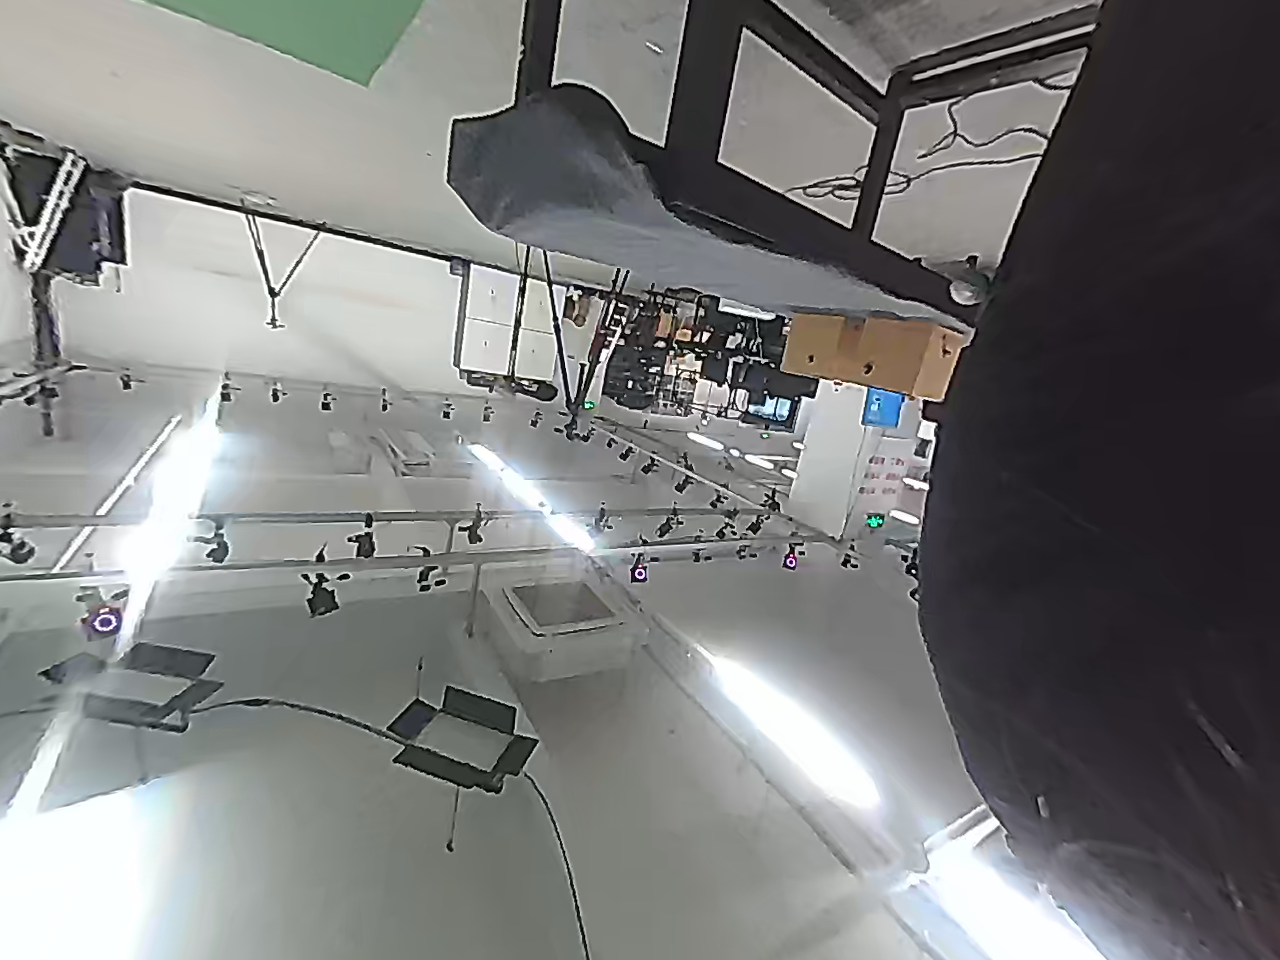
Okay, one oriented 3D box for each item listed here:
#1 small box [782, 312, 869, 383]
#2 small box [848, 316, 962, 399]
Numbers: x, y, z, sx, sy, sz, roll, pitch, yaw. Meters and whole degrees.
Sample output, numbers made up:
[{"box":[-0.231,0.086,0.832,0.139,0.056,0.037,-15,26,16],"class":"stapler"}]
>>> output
[{"box":[0.537,-0.380,1.538,0.168,0.176,0.179,0,-163,-36],"class":"small box"},{"box":[0.662,-0.309,1.350,0.168,0.176,0.179,0,-161,-38],"class":"small box"}]
